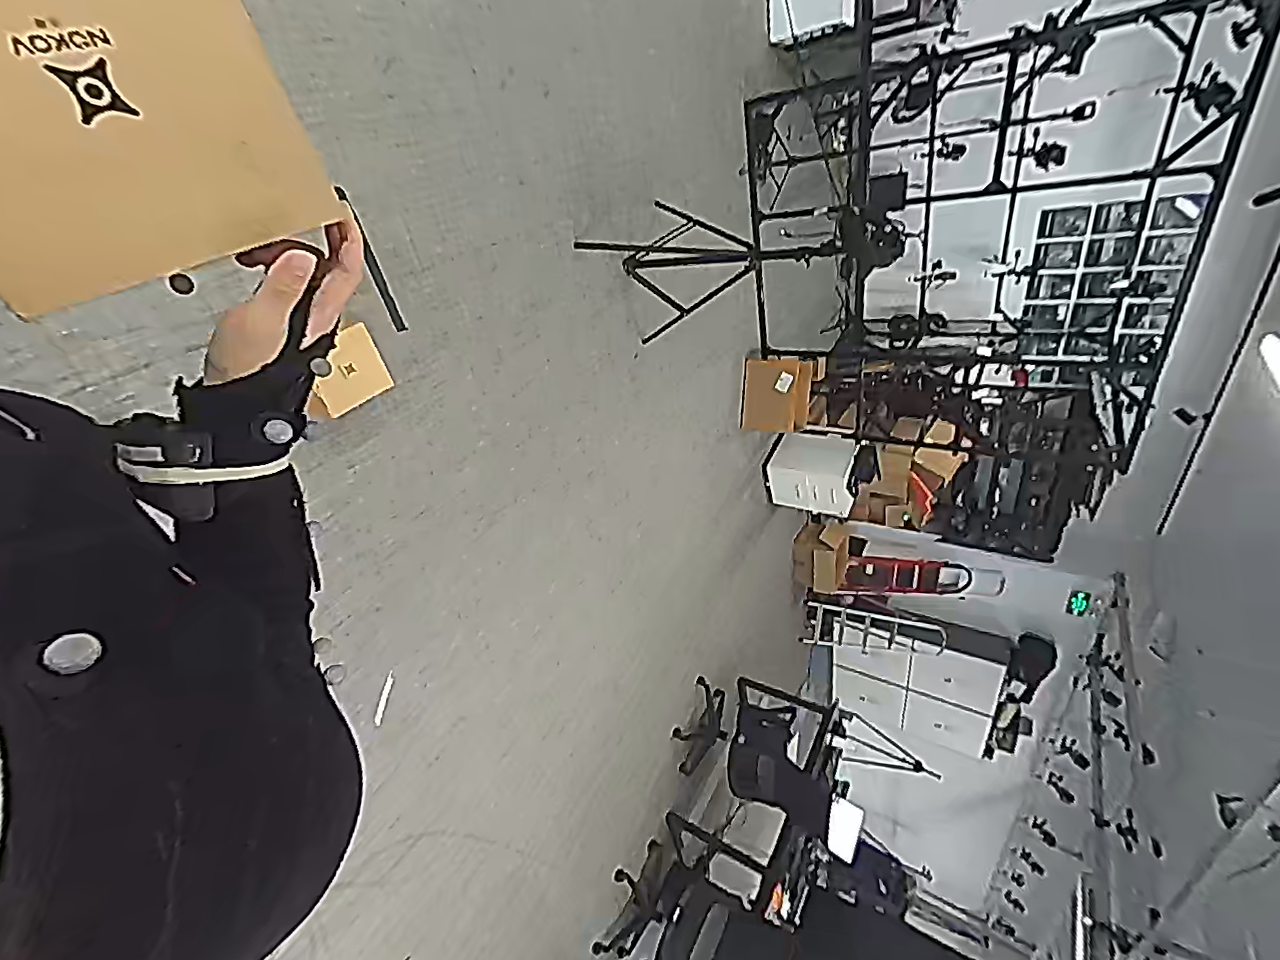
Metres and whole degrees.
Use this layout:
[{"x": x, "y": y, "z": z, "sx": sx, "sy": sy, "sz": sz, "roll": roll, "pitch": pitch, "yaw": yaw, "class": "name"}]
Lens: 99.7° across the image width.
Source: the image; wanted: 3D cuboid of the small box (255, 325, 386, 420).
[{"x": -0.754, "y": -0.262, "z": 1.281, "sx": 0.179, "sy": 0.176, "sz": 0.168, "roll": -47, "pitch": 136, "yaw": -39, "class": "small box"}]
